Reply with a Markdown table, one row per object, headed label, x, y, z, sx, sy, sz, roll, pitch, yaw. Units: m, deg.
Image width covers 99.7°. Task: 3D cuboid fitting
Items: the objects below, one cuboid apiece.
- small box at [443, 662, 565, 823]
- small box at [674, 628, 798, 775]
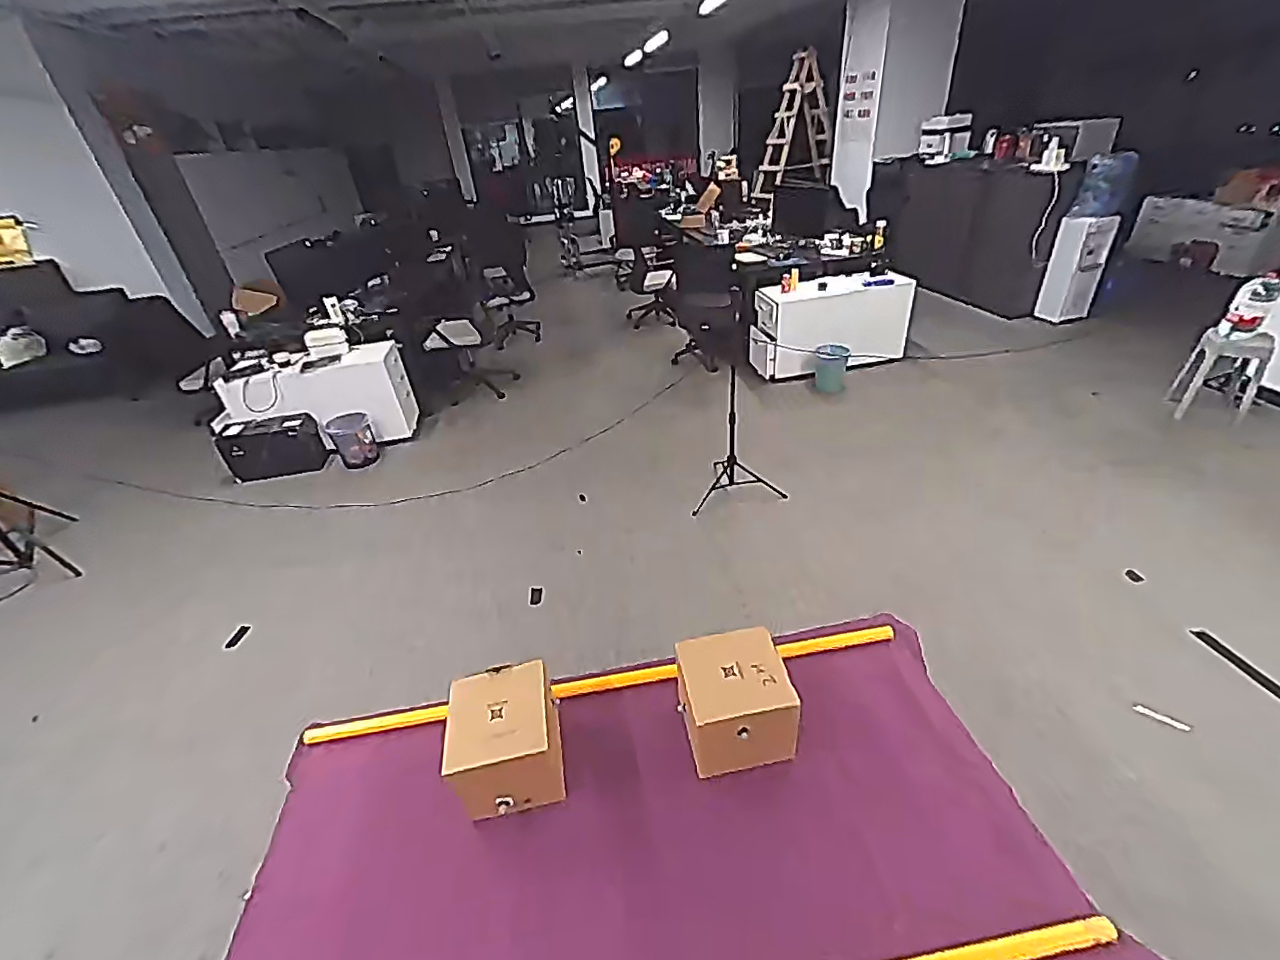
| label | x | y | z | sx | sy | sz | roll | pitch | yaw |
| --- | --- | --- | --- | --- | --- | --- | --- | --- | --- |
| small box | -0.230 | 0.455 | 0.944 | 0.168 | 0.176 | 0.179 | -11 | 34 | -6 |
| small box | 0.167 | 0.395 | 0.965 | 0.179 | 0.176 | 0.168 | -9 | 35 | -5 |
